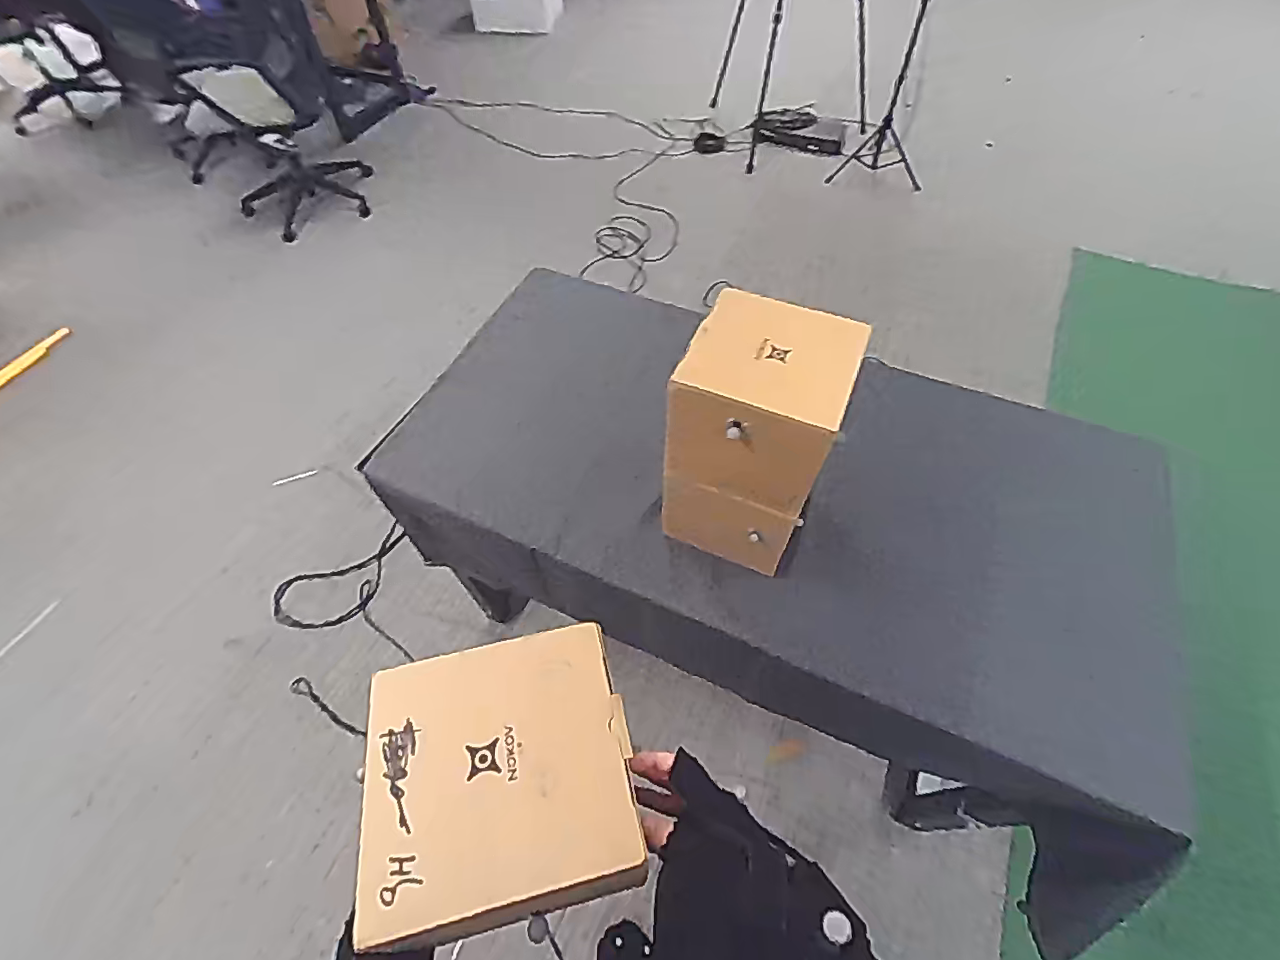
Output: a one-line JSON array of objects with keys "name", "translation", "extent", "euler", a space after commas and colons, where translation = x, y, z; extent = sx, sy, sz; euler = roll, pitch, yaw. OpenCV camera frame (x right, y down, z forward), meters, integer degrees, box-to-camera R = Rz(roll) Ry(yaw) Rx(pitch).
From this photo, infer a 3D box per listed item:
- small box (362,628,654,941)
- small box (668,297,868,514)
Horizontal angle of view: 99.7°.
[{"name": "small box", "translation": [-0.095, 0.244, 0.435], "extent": [0.179, 0.176, 0.168], "euler": [-9, 49, -9]}, {"name": "small box", "translation": [0.144, -0.082, 0.646], "extent": [0.179, 0.176, 0.168], "euler": [20, 58, 15]}]
